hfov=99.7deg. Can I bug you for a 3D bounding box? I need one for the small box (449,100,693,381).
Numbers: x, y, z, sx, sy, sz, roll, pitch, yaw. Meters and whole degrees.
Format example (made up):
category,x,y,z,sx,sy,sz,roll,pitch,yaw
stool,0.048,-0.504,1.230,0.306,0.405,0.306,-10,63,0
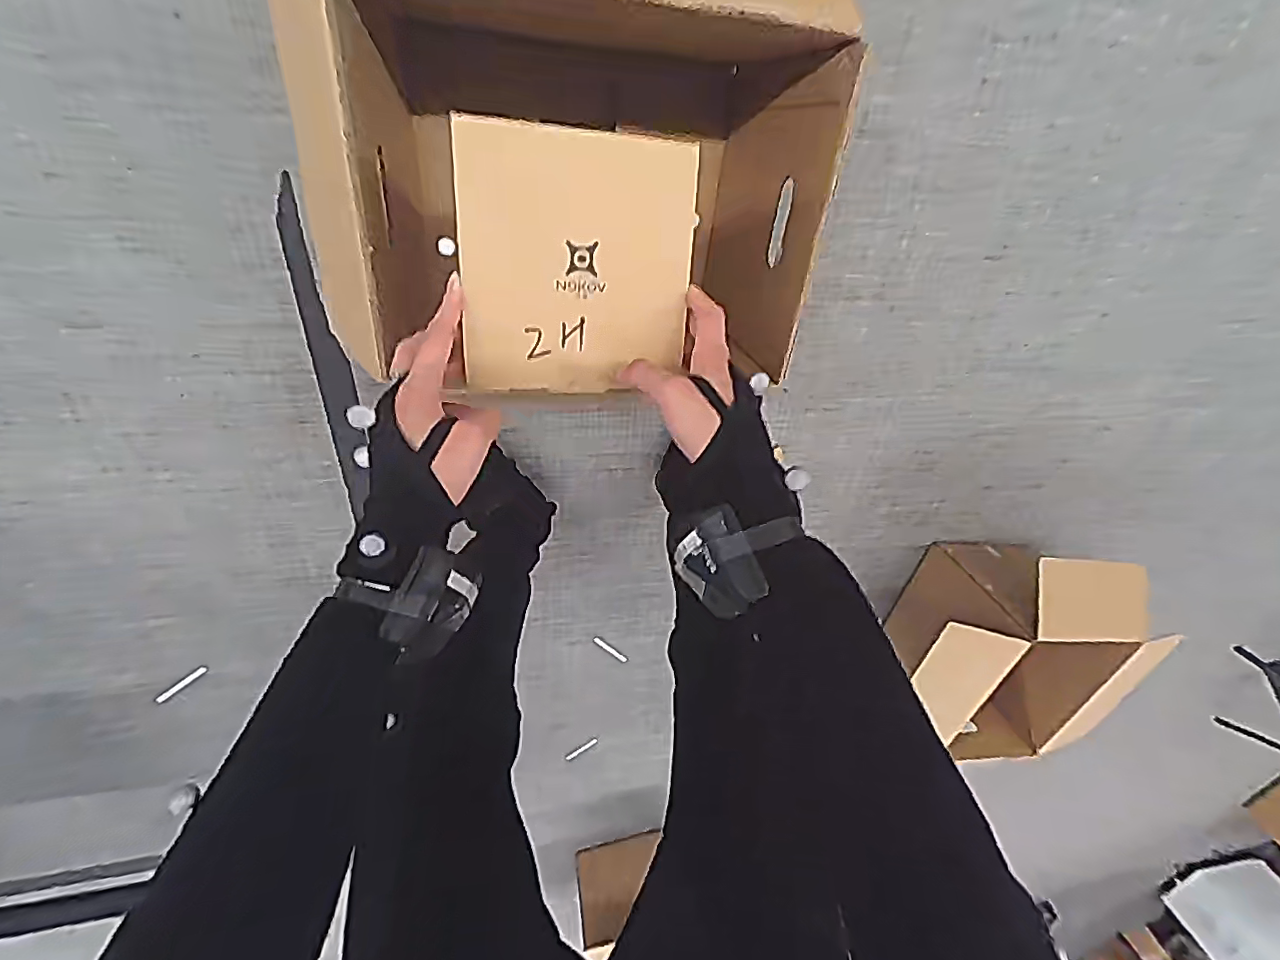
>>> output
category,x,y,z,sx,sy,sz,roll,pitch,yaw
small box,-0.066,-0.186,0.455,0.168,0.176,0.179,-2,113,-14
